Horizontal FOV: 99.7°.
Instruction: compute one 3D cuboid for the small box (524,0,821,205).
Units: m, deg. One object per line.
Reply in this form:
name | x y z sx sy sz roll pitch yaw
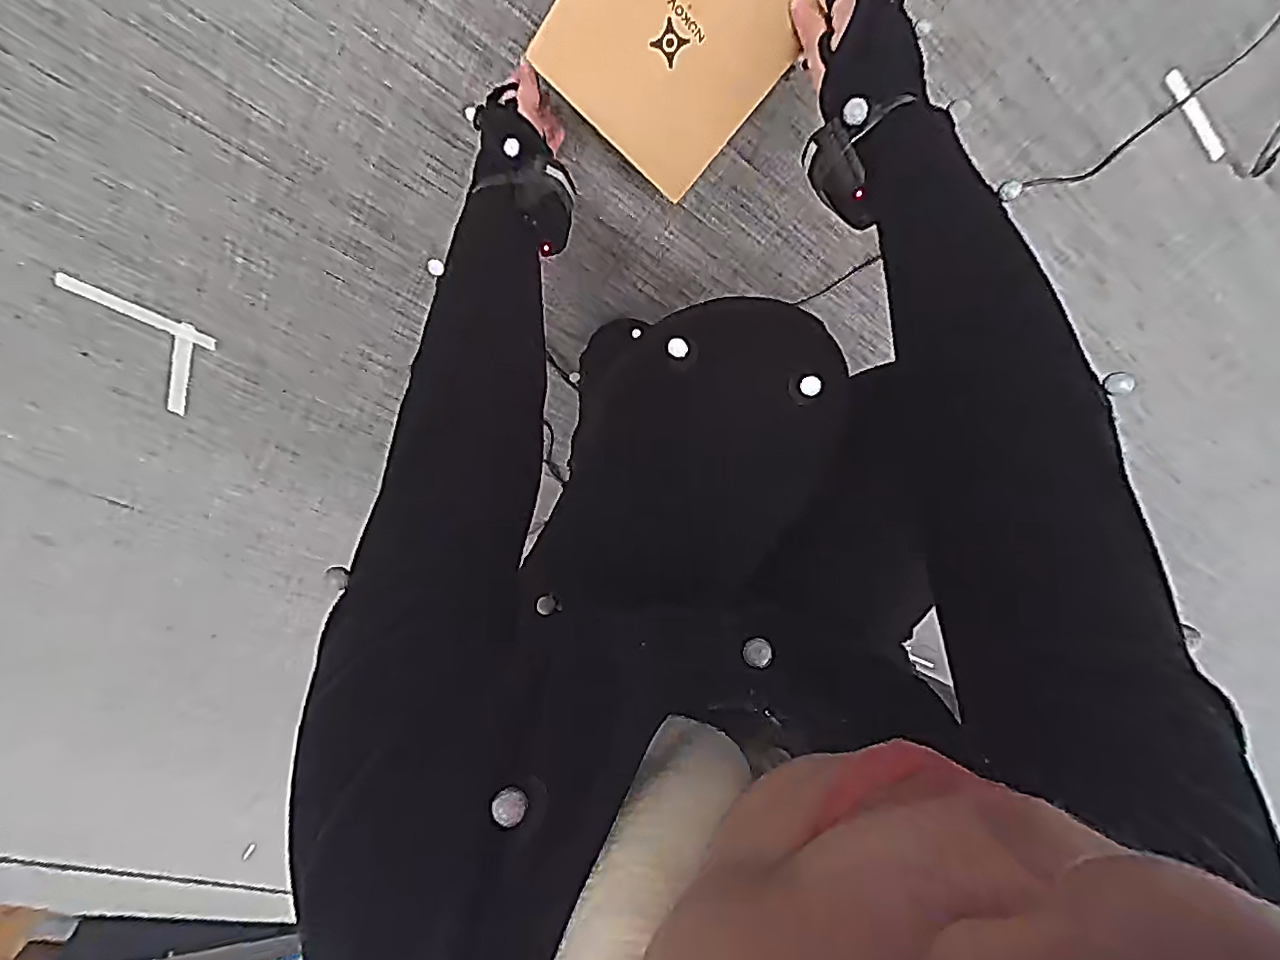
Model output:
small box | 0.024 -0.389 0.480 0.168 0.176 0.179 34 121 -26
